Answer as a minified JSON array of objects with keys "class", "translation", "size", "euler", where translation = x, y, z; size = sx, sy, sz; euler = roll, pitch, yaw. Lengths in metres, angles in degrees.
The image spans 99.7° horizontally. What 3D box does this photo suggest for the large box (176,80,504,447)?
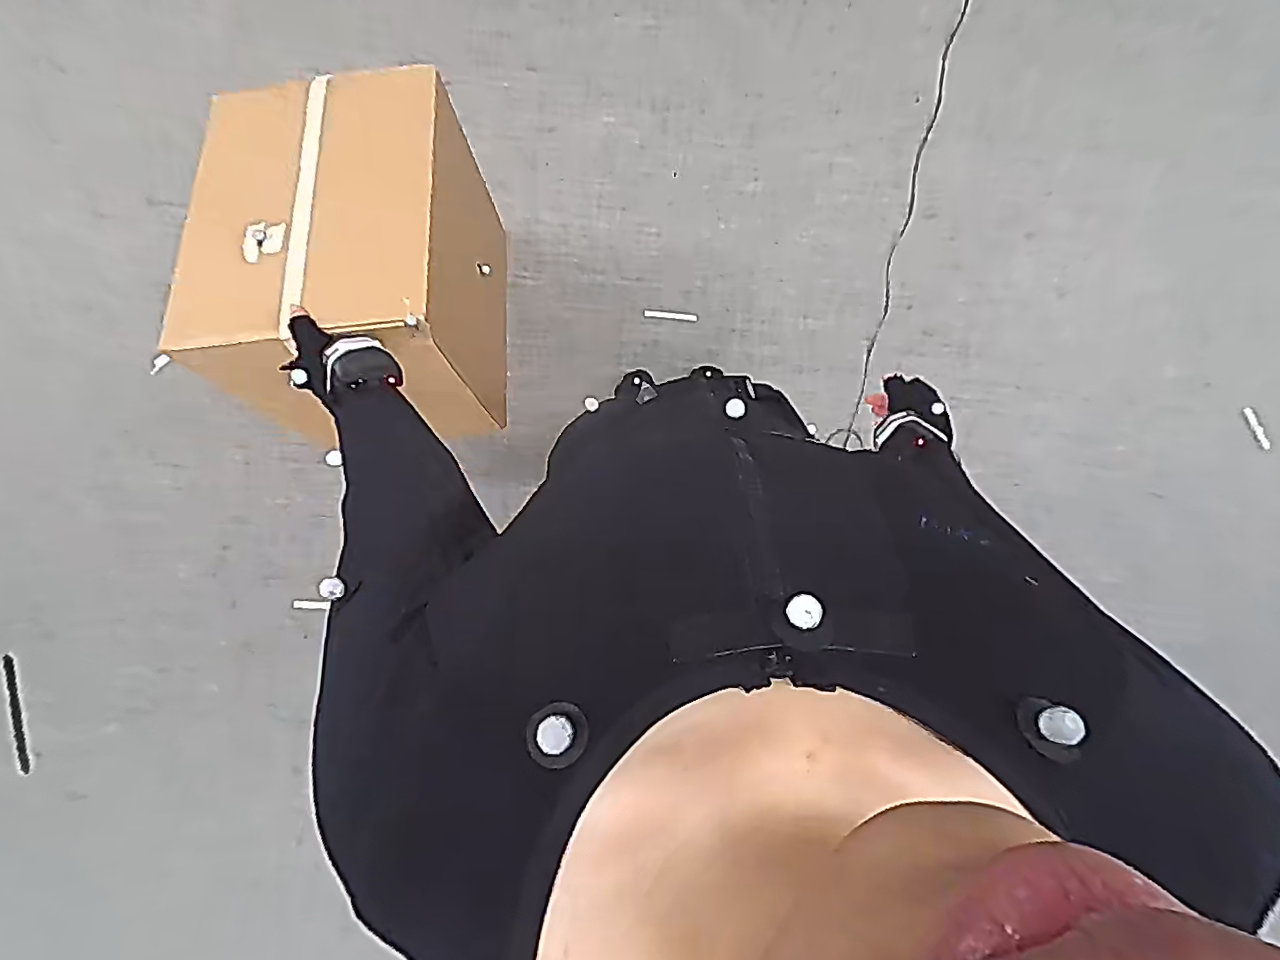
[{"class":"large box","translation":[-0.407,-0.303,0.829],"size":[0.320,0.320,0.408],"euler":[-7,72,3]}]
